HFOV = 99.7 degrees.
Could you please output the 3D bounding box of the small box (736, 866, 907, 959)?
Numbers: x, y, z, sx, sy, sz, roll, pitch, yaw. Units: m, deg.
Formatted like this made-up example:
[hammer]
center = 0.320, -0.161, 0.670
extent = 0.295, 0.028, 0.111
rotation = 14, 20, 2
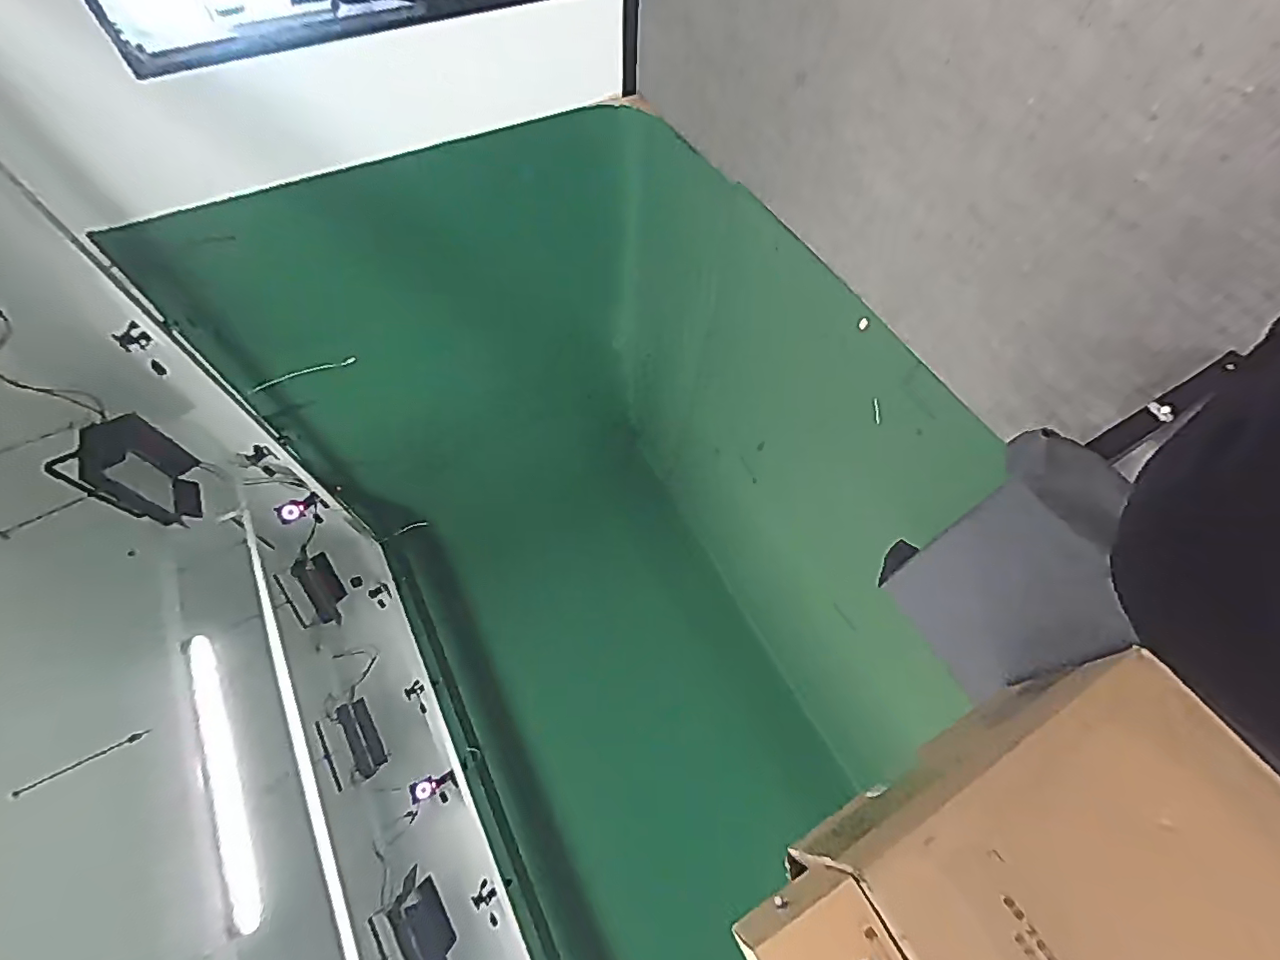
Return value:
[small box]
center = 0.259, 0.672, 0.750
extent = 0.168, 0.176, 0.179
rotation = 57, 162, 27
